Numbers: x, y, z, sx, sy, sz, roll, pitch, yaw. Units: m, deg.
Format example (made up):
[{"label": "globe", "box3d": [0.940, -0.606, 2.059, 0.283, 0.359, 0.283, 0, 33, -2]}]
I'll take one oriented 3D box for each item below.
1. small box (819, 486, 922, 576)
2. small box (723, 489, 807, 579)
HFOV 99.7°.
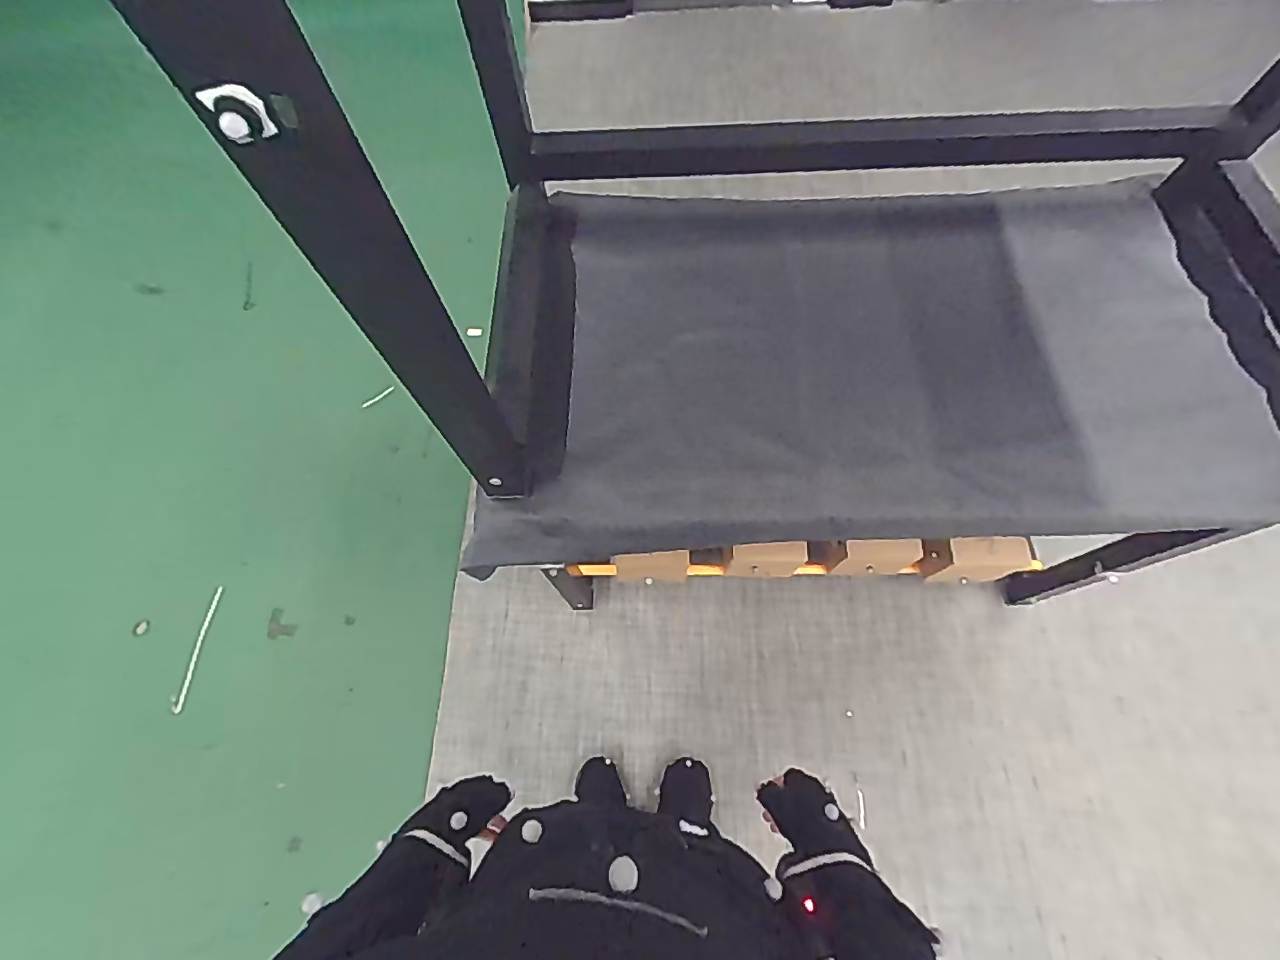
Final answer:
[{"label": "small box", "box3d": [0.535, 0.127, 1.279, 0.168, 0.176, 0.179, -1, 66, 2]}, {"label": "small box", "box3d": [0.290, 0.133, 1.286, 0.168, 0.176, 0.179, 1, 66, 2]}]
